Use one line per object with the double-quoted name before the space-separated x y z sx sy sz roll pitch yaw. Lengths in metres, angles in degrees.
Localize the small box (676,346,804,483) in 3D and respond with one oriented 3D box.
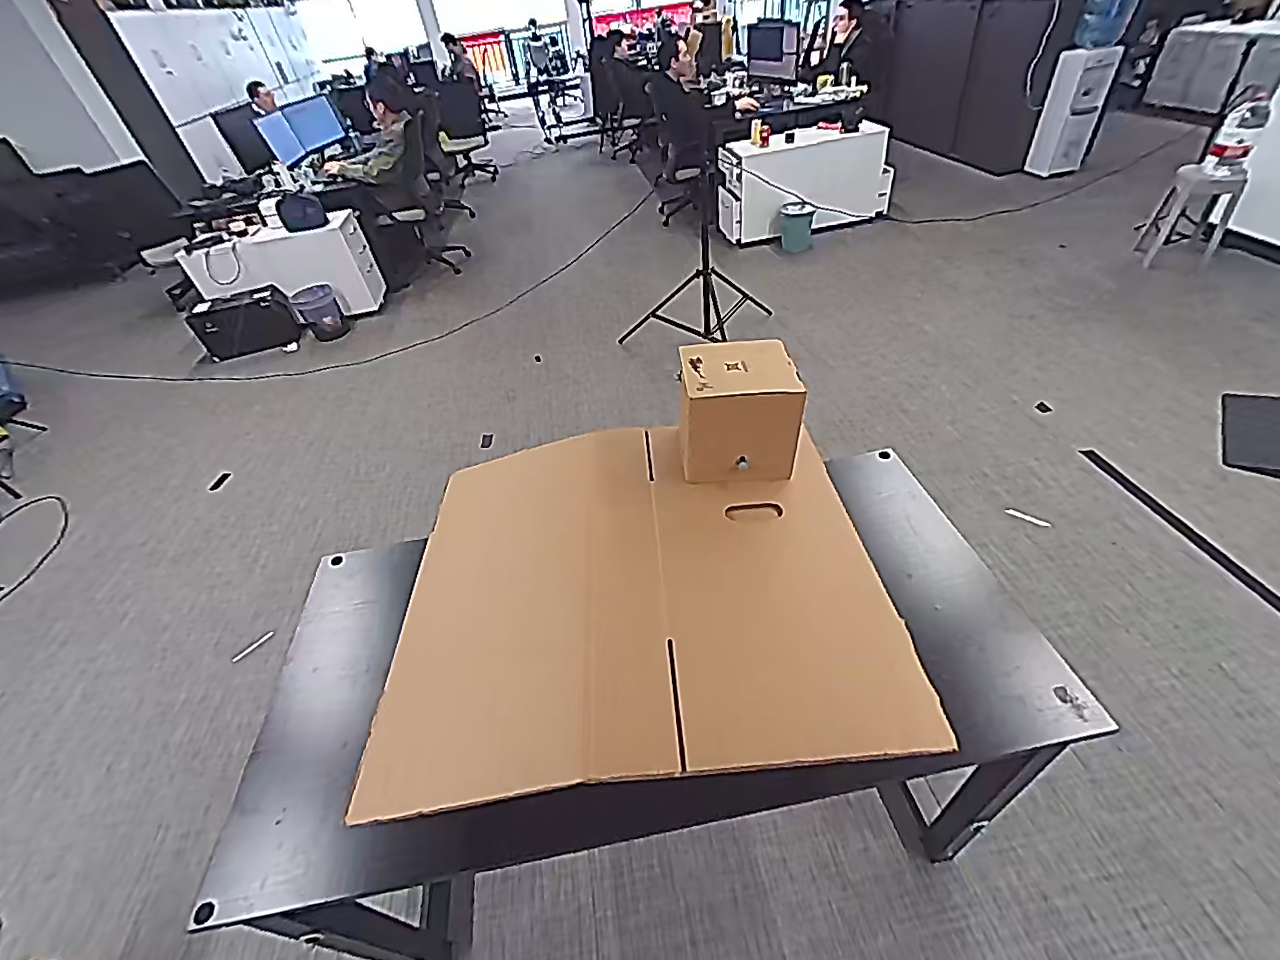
"small box" 0.155 -0.109 0.904 0.179 0.176 0.168 -3 40 -1
